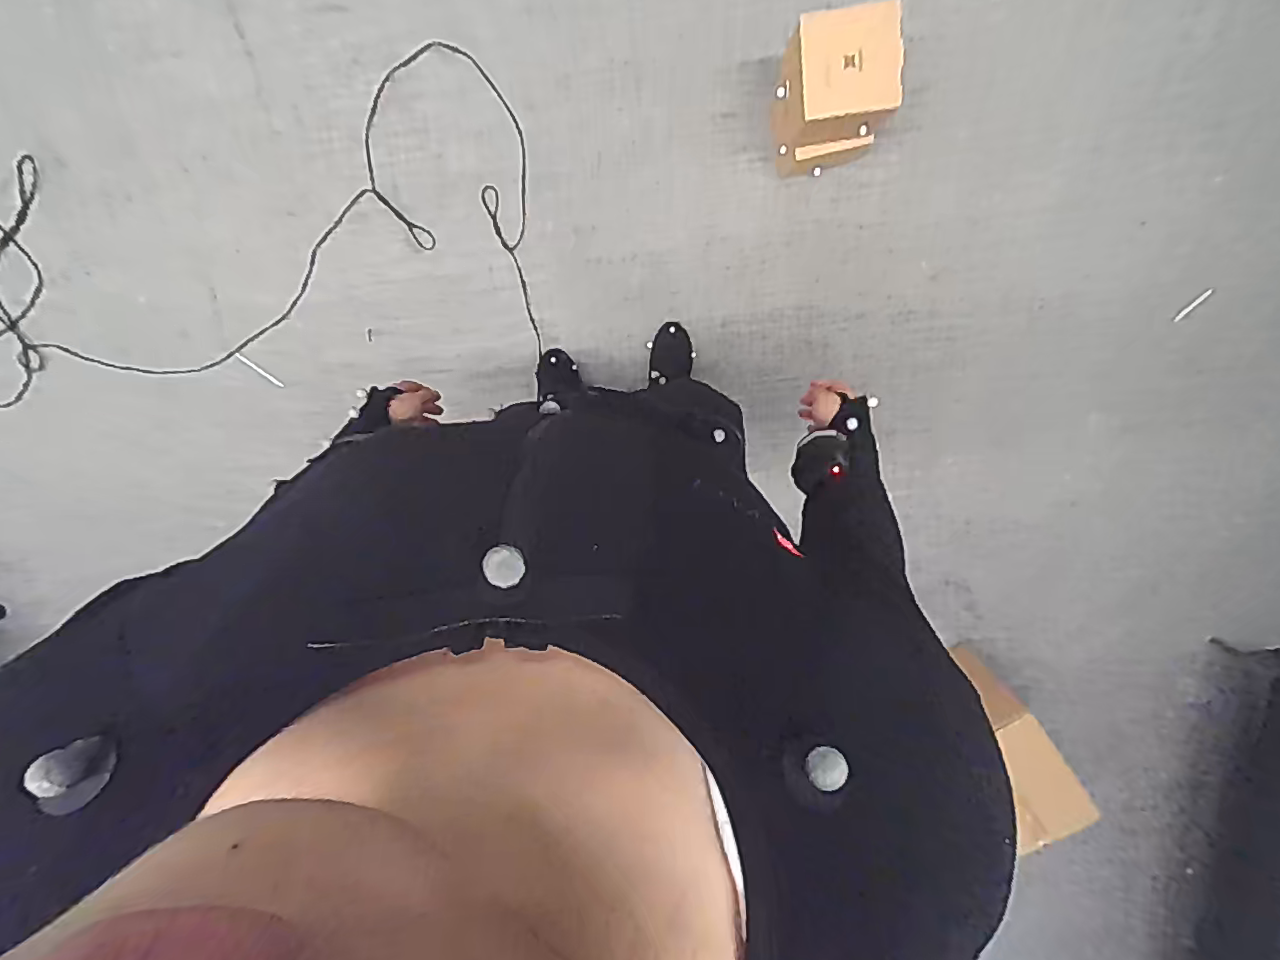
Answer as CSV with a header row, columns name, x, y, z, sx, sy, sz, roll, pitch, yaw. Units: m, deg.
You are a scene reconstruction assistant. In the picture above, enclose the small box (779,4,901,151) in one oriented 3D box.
name,x,y,z,sx,sy,sz,roll,pitch,yaw
small box,0.375,-0.754,1.032,0.179,0.176,0.168,-7,105,4
